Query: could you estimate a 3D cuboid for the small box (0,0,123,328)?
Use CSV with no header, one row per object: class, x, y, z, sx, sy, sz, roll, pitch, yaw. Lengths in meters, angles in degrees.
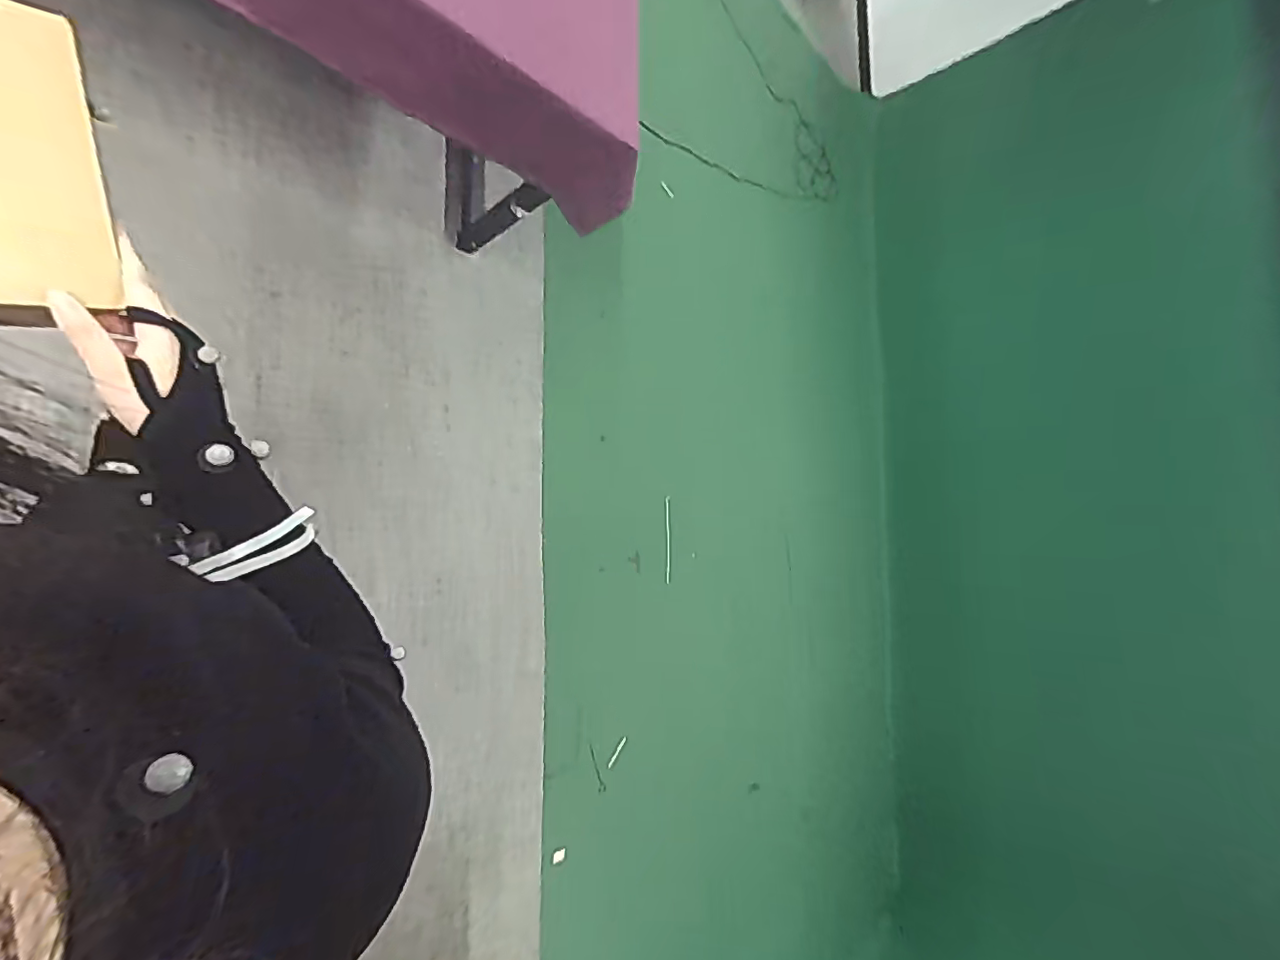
small box,-0.463,-0.194,0.345,0.168,0.176,0.179,-15,106,-46
